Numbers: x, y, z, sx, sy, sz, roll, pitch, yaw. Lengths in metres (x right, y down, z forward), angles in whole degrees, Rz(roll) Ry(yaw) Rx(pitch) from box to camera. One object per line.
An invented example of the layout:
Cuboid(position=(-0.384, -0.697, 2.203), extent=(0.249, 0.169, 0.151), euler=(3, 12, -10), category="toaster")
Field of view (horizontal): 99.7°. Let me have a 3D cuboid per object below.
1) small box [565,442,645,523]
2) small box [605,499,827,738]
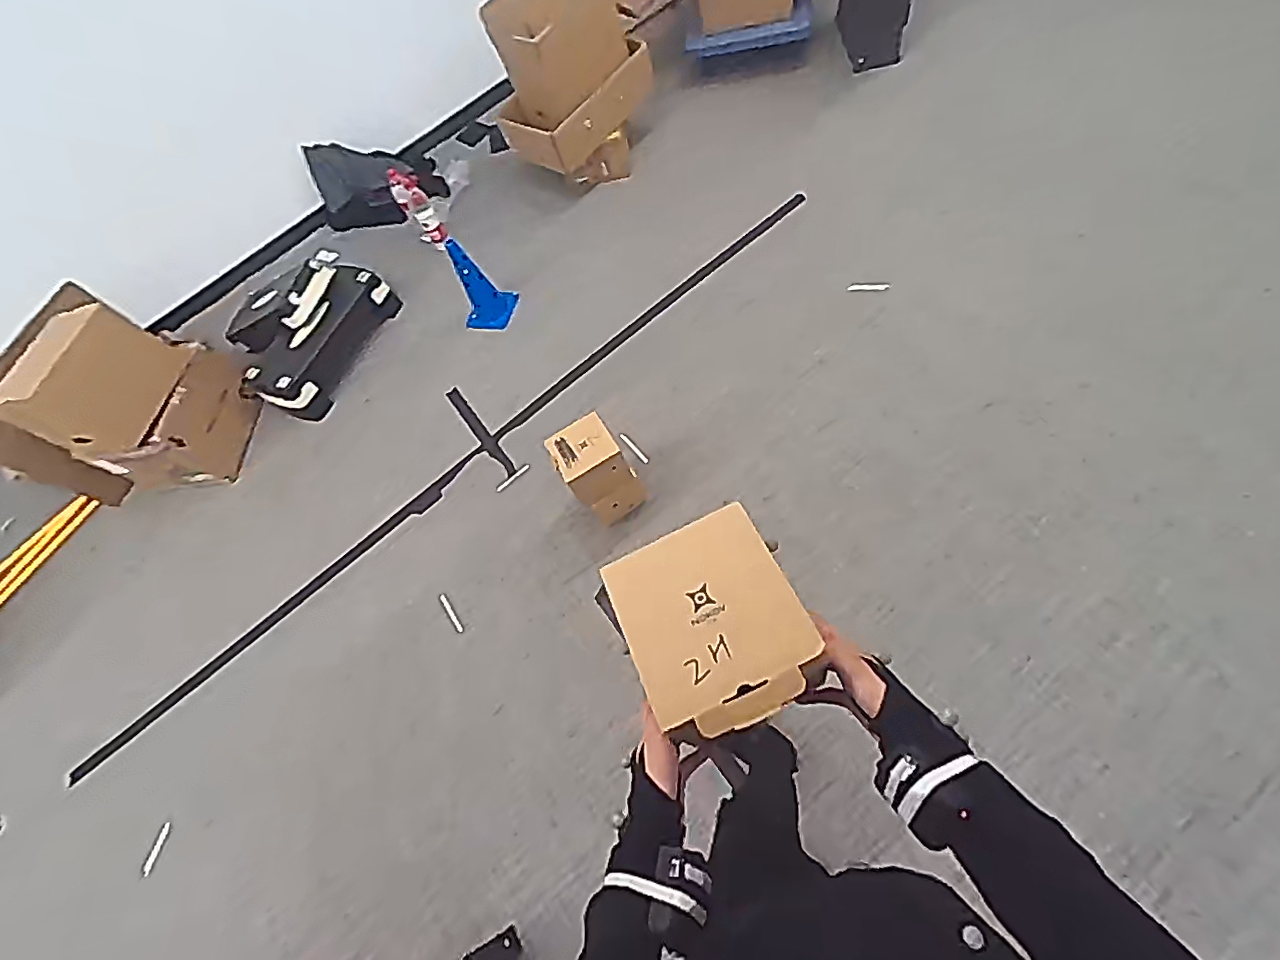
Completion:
Cuboid(position=(-0.106, 0.018, 1.716), extent=(0.168, 0.176, 0.179), euler=(-36, 61, -5), category="small box")
Cuboid(position=(0.083, 0.157, 0.589), extent=(0.168, 0.176, 0.179), euler=(-26, 56, 2), category="small box")
